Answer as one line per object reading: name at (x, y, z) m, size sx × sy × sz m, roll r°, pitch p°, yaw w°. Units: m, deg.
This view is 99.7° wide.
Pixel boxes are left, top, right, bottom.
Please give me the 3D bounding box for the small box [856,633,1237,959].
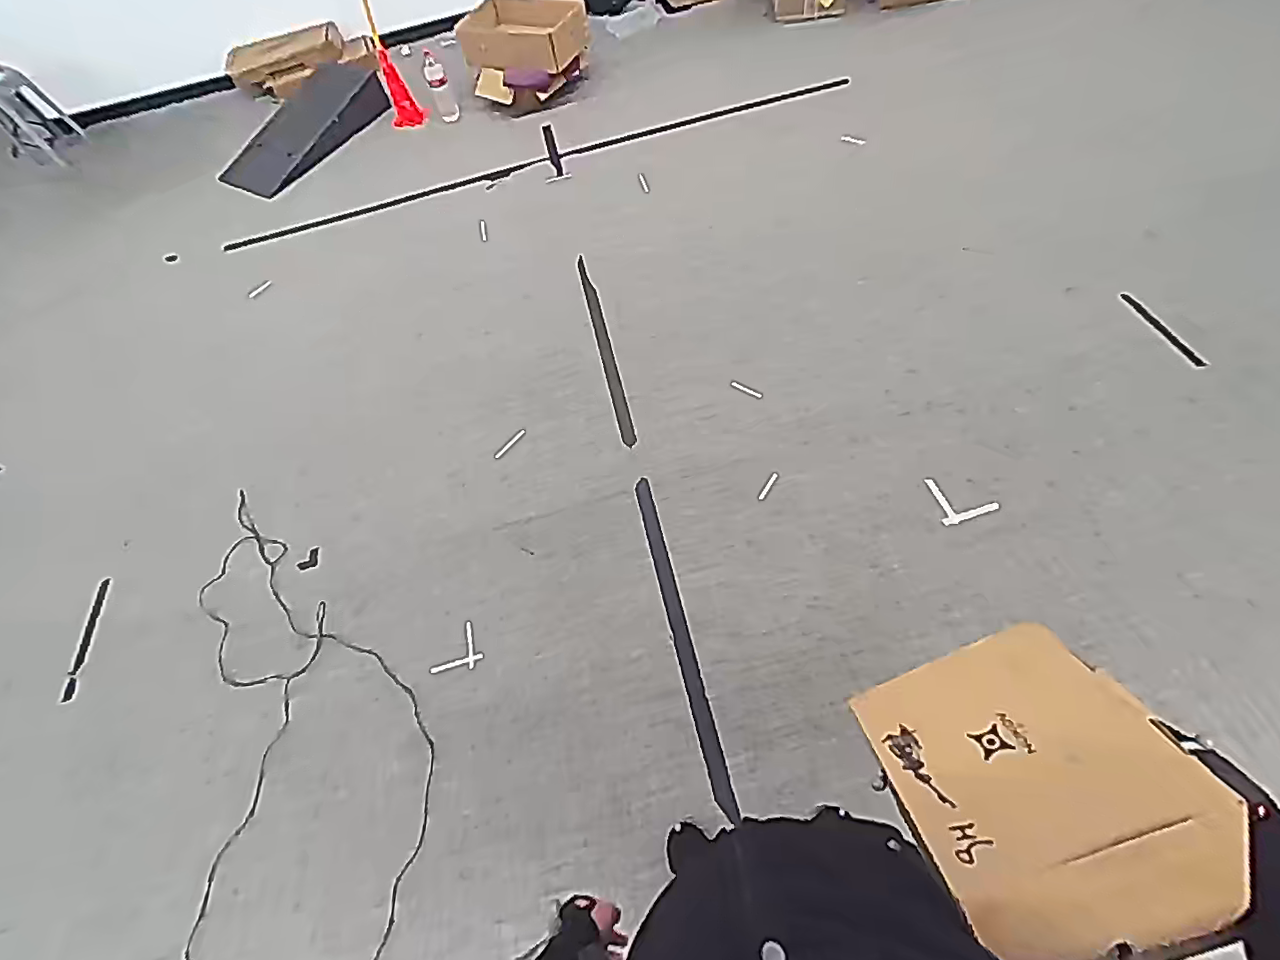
small box at (0.310, 0.266, 0.439) m, size 0.179 × 0.176 × 0.168 m, roll -26°, pitch 22°, yaw 8°
